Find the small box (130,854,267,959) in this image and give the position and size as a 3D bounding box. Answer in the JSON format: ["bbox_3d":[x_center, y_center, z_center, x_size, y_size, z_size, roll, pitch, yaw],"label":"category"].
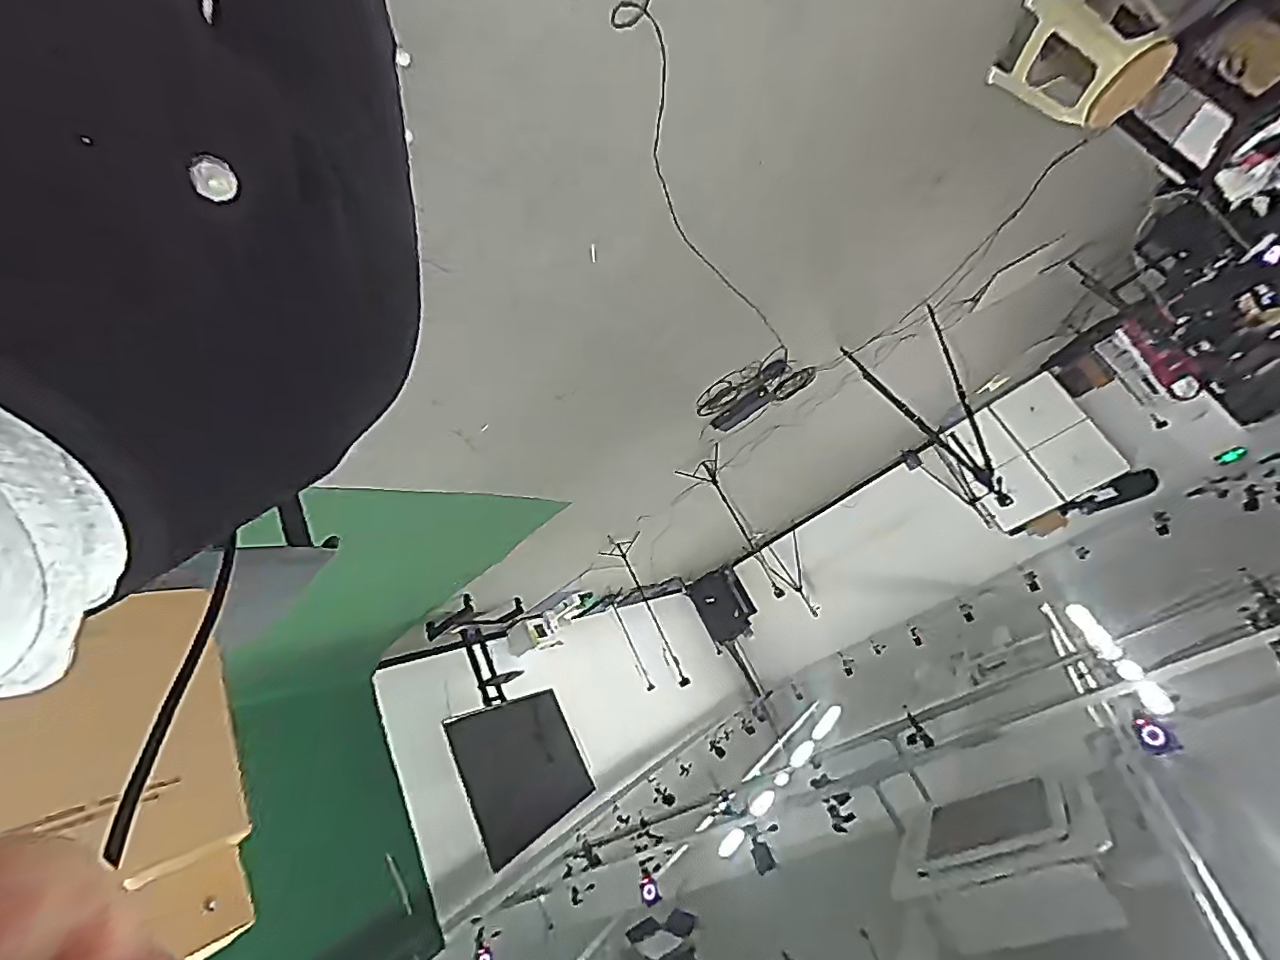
[{"bbox_3d":[-0.976,0.977,1.195,0.168,0.176,0.179,-46,156,20],"label":"small box"}]
